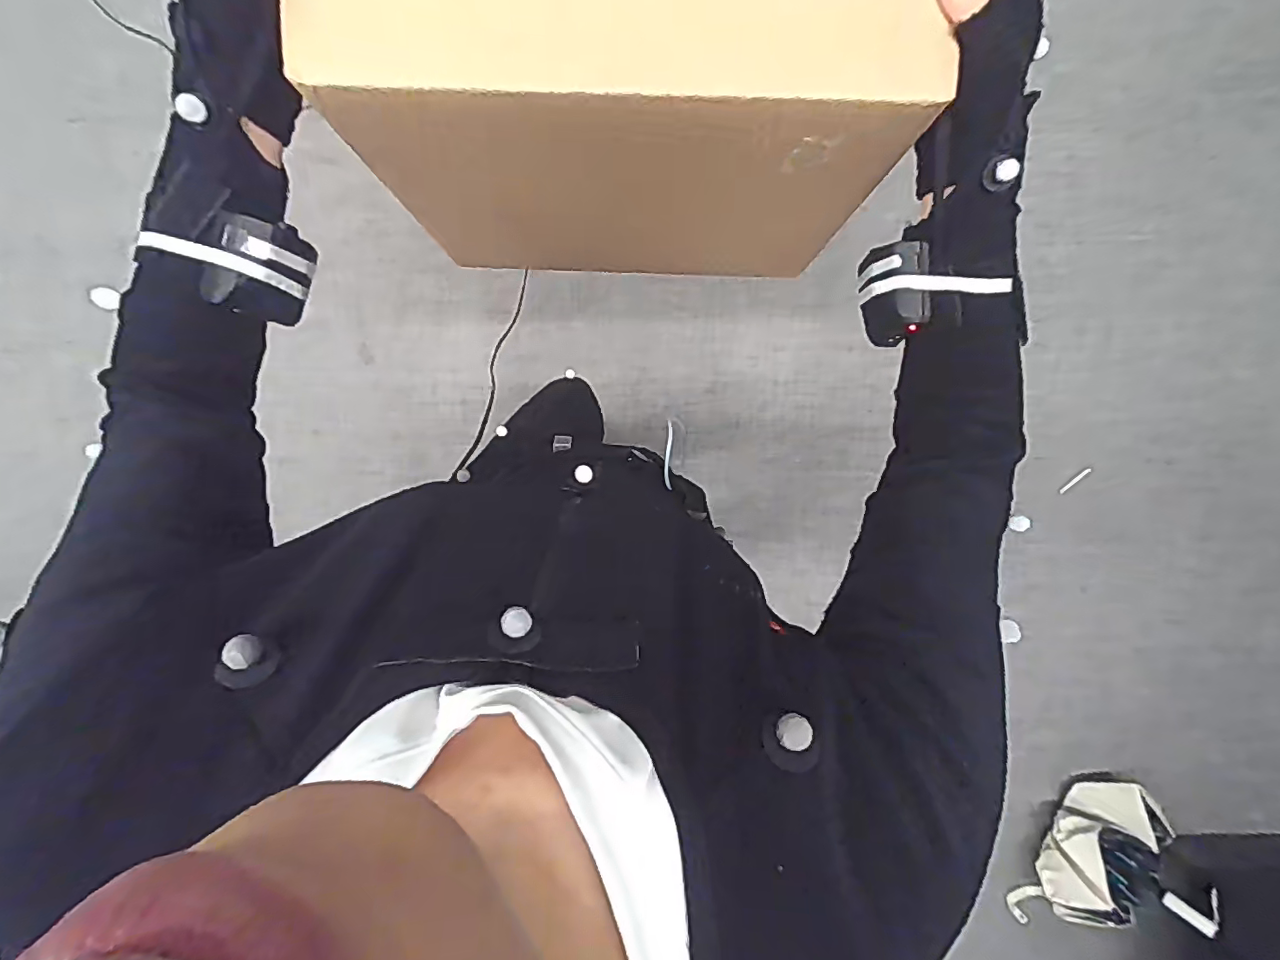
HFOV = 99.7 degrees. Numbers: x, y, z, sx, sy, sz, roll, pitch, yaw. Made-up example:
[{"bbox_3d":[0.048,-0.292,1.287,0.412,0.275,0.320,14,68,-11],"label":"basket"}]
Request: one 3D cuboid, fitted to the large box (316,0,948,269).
[{"bbox_3d":[-0.007,-0.398,0.485,0.408,0.320,0.320,1,92,-2],"label":"large box"}]
